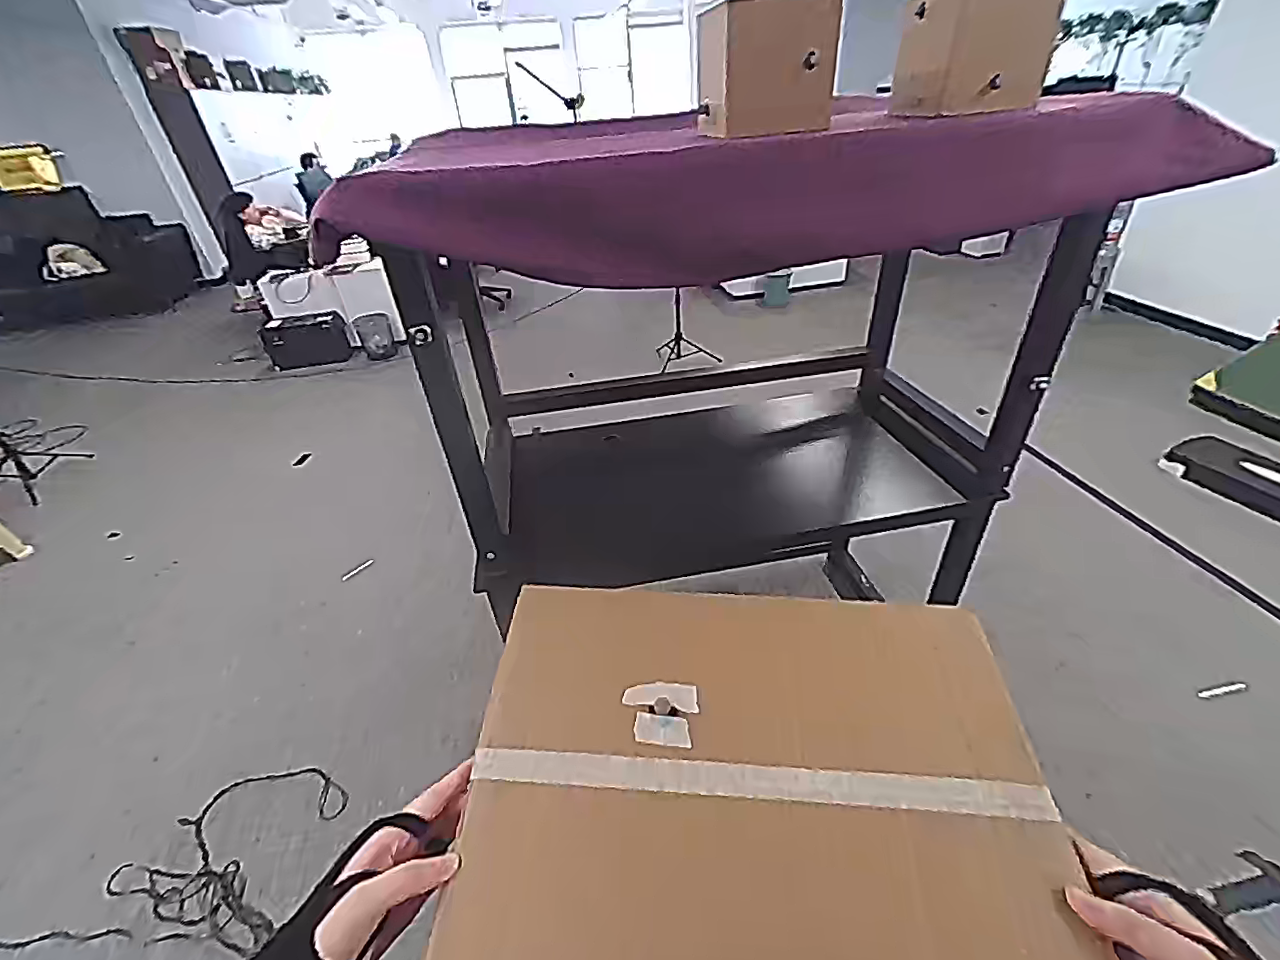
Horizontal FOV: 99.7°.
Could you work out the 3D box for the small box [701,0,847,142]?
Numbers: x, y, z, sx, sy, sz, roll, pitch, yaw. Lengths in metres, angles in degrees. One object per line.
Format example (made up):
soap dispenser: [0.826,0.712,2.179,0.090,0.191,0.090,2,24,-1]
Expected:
small box: [0.200,-0.648,0.860,0.179,0.176,0.168,-9,35,-5]

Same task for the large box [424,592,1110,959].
large box: [0.084,0.317,0.484,0.408,0.320,0.320,1,45,5]

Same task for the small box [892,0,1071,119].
small box: [0.549,-0.705,0.891,0.179,0.176,0.168,-8,34,-4]
